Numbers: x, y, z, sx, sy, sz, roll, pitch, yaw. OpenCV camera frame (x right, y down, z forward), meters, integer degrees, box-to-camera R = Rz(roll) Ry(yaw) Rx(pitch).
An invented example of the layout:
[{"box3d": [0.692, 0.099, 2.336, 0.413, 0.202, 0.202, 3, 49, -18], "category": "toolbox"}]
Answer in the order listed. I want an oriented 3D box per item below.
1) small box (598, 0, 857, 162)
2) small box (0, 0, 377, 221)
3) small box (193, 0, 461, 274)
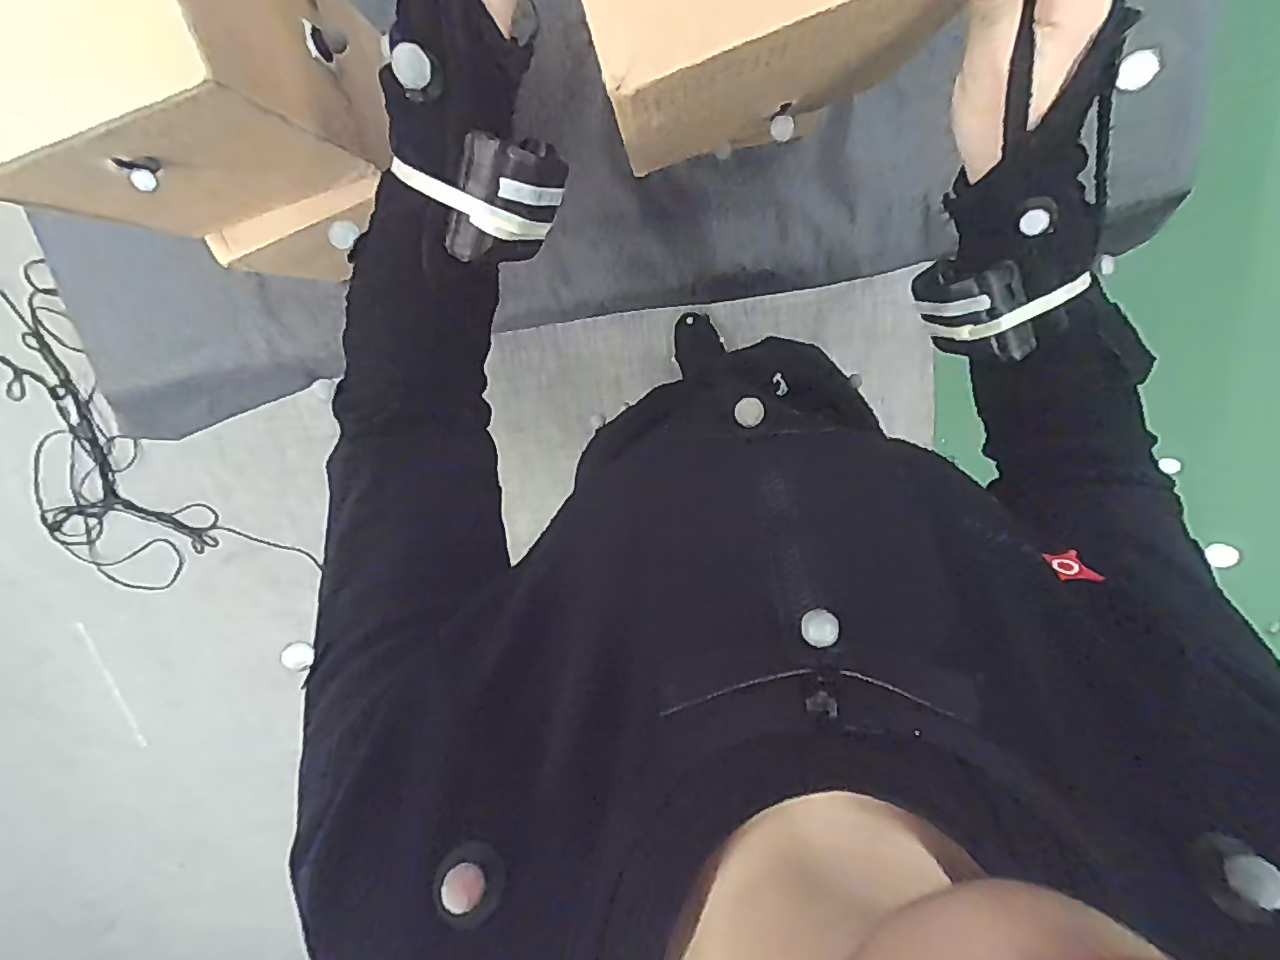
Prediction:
[{"box3d": [0.058, -0.382, 0.438, 0.179, 0.176, 0.168, -7, 106, 6], "category": "small box"}, {"box3d": [-0.303, -0.274, 0.325, 0.179, 0.176, 0.168, -14, 106, 9], "category": "small box"}, {"box3d": [-0.293, -0.304, 0.486, 0.168, 0.176, 0.179, -18, 105, 9], "category": "small box"}]
